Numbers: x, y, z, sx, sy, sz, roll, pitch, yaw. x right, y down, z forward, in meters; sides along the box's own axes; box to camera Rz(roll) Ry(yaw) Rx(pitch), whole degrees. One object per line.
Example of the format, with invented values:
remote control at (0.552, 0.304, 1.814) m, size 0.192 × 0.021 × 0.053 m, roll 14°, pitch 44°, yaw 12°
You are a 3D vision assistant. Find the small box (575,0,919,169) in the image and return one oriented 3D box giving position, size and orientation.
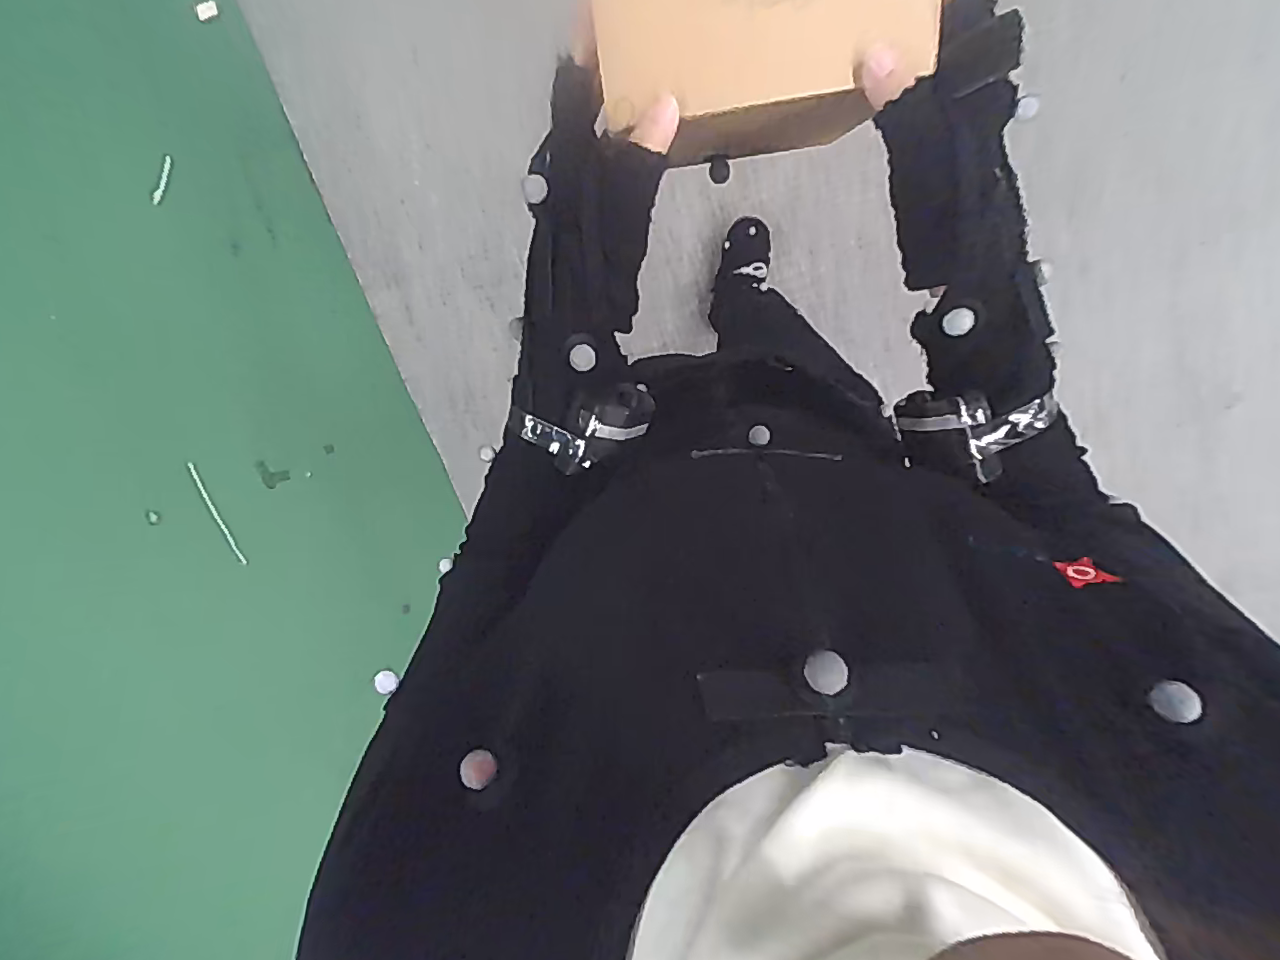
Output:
small box at (0.047, -0.303, 0.315) m, size 0.168 × 0.176 × 0.179 m, roll -6°, pitch 112°, yaw 5°
